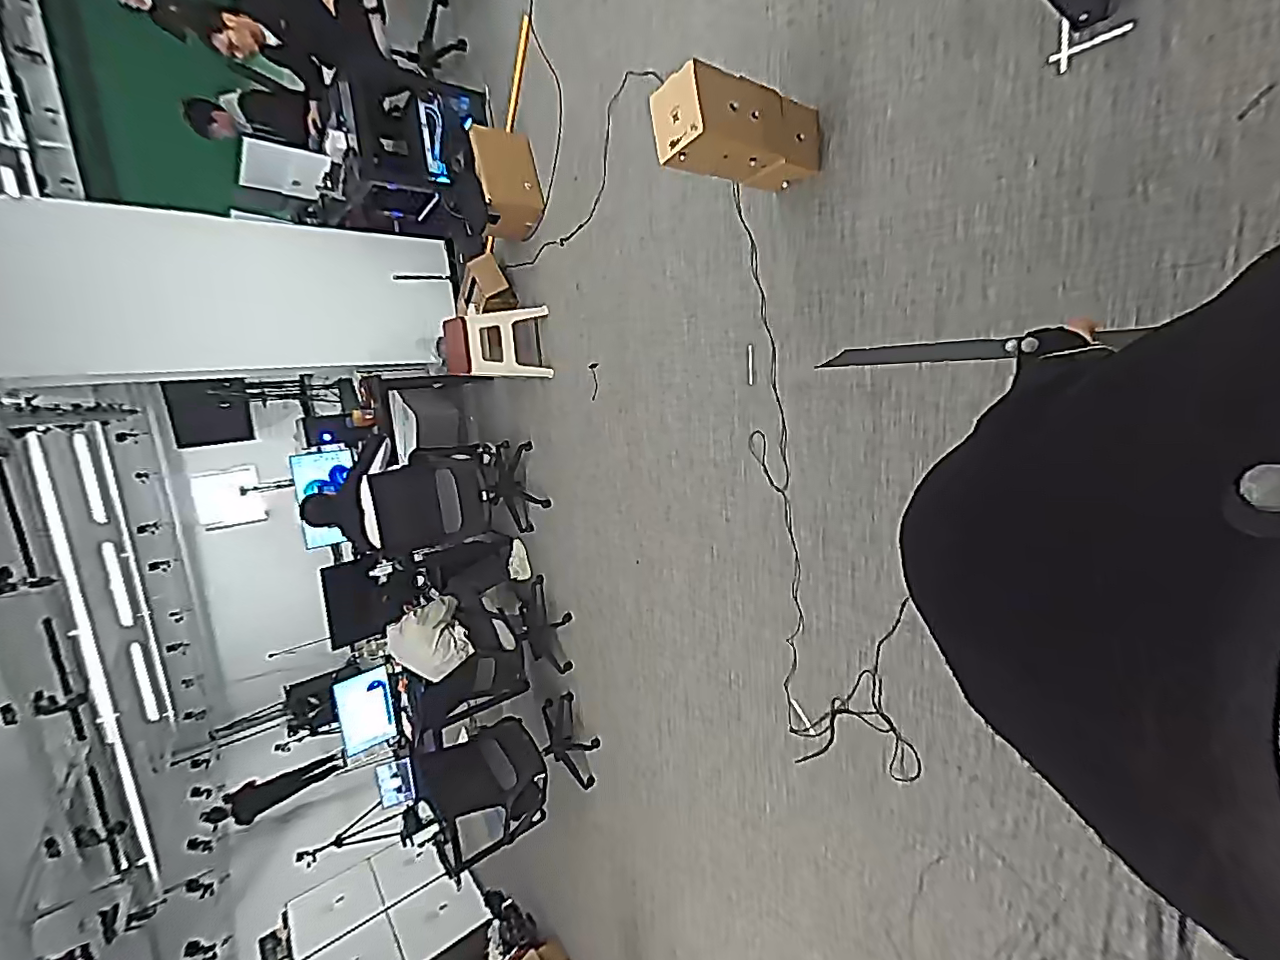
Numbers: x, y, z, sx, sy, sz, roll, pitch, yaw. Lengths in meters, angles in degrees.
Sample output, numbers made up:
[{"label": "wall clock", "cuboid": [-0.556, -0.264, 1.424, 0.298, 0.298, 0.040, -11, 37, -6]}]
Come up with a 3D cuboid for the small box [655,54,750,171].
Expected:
[{"label": "small box", "cuboid": [0.163, -0.938, 1.399, 0.168, 0.176, 0.179, -4, 96, 53]}]

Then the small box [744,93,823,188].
[{"label": "small box", "cuboid": [0.419, -0.990, 1.594, 0.168, 0.176, 0.179, 5, 104, 52]}]

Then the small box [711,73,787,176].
[{"label": "small box", "cuboid": [0.291, -0.970, 1.497, 0.168, 0.176, 0.179, 0, 98, 52]}]
